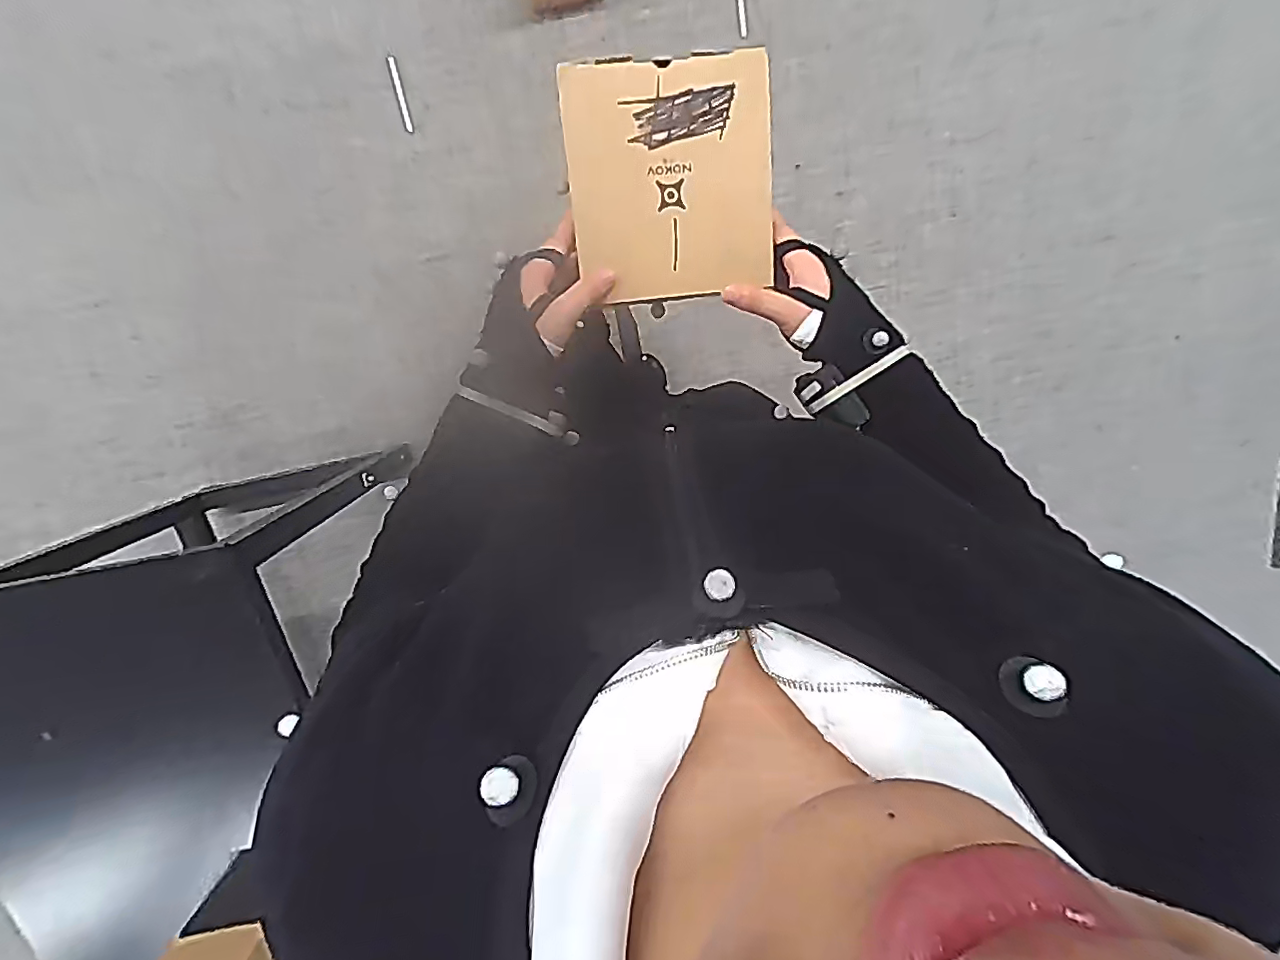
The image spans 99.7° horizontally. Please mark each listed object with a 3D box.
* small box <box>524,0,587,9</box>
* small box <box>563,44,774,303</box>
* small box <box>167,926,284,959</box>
[{"bbox_3d":[-0.179,-1.113,1.106,0.179,0.176,0.168,-11,107,-1],"label":"small box"},{"bbox_3d":[0.020,-0.266,0.509,0.168,0.176,0.179,-6,108,-3],"label":"small box"},{"bbox_3d":[-0.706,0.877,0.882,0.179,0.176,0.168,-12,105,1],"label":"small box"}]
